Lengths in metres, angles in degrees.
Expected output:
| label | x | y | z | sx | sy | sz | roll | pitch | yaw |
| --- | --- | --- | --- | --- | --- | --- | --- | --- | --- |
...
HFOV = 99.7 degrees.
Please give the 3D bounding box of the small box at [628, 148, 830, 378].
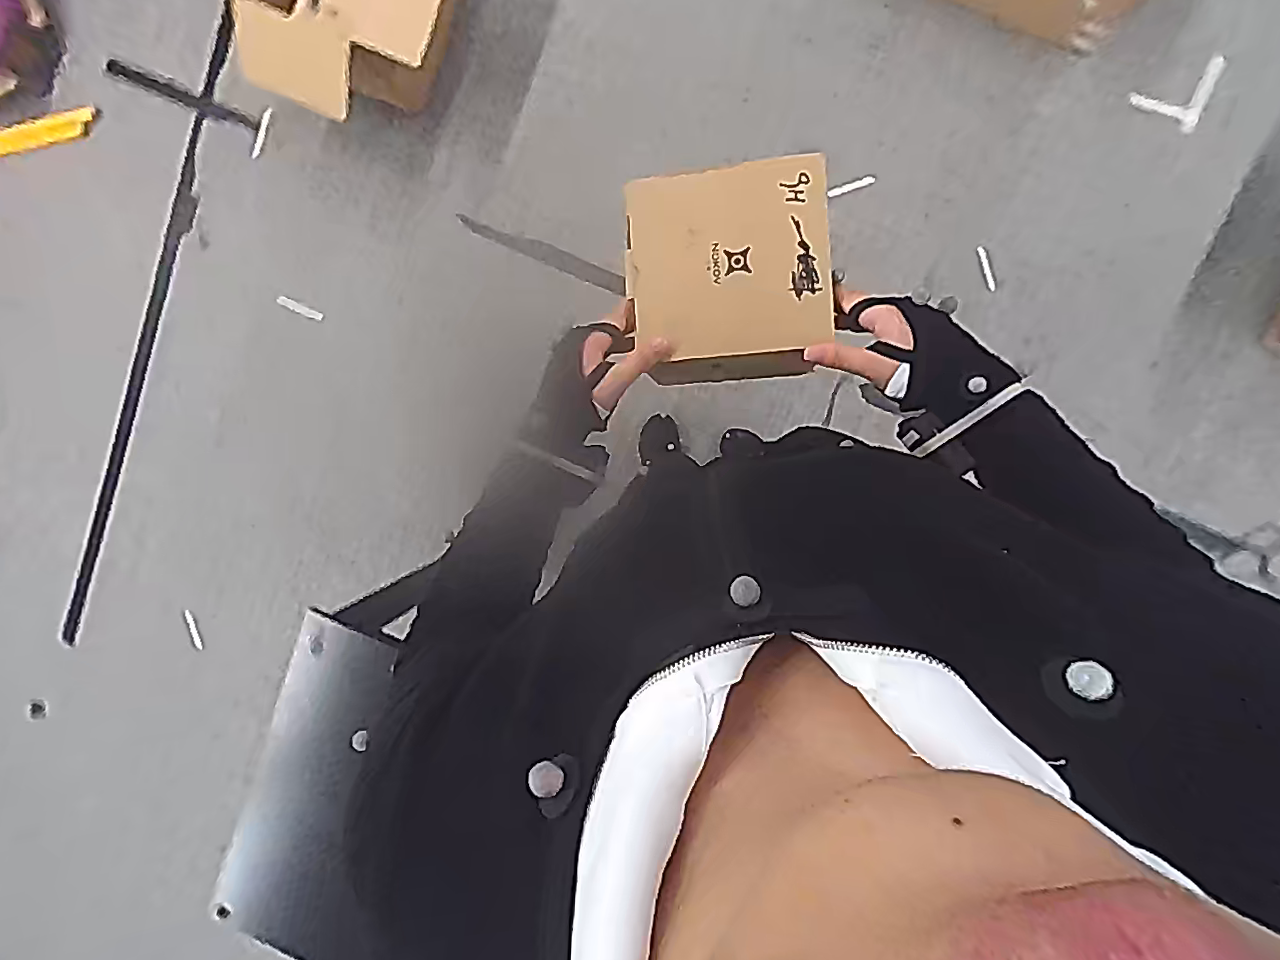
| label | x | y | z | sx | sy | sz | roll | pitch | yaw |
| --- | --- | --- | --- | --- | --- | --- | --- | --- | --- |
| small box | 0.091 | -0.203 | 0.558 | 0.179 | 0.176 | 0.168 | -2 | 92 | 10 |
